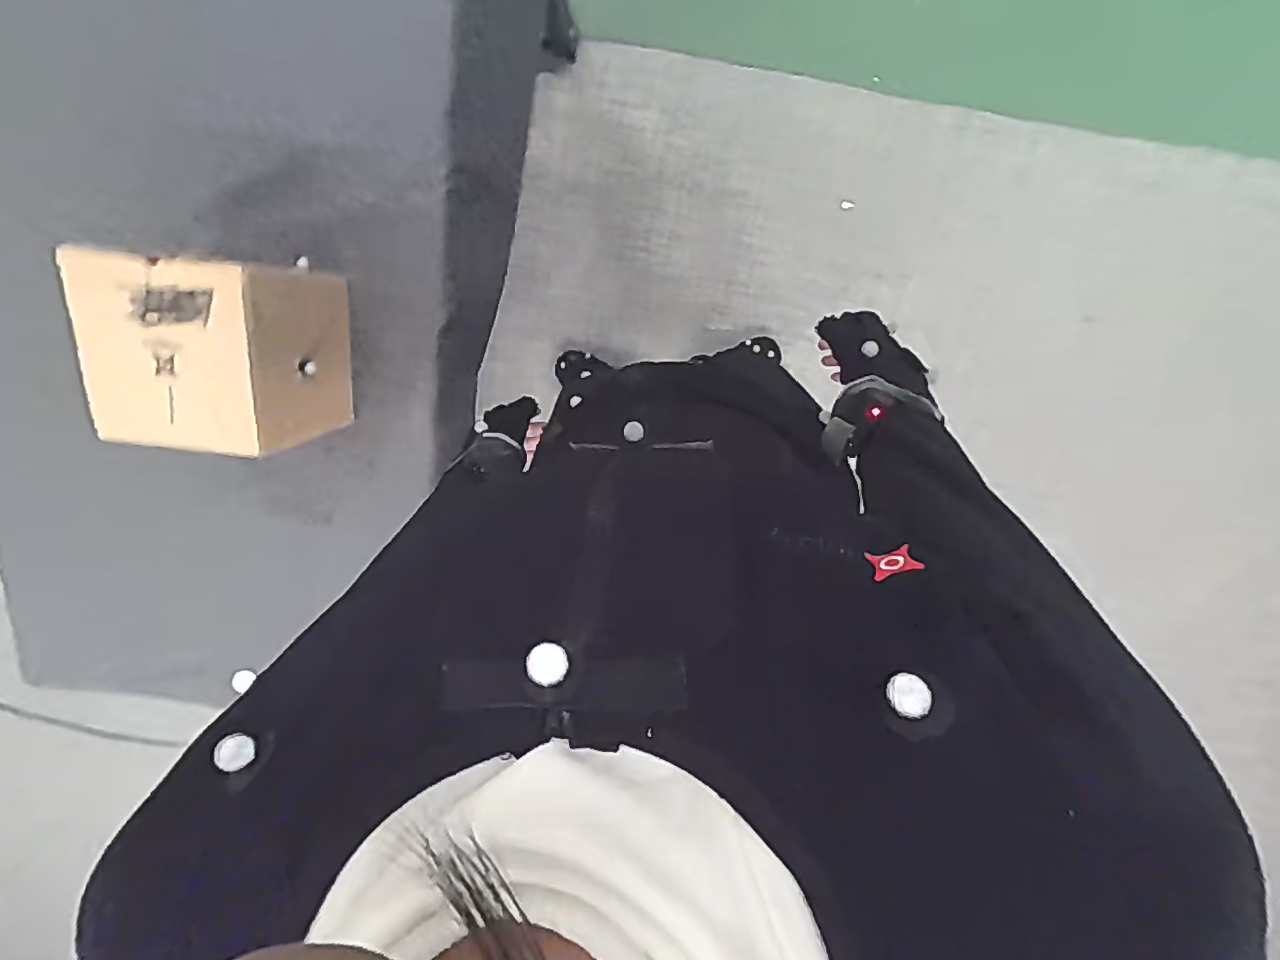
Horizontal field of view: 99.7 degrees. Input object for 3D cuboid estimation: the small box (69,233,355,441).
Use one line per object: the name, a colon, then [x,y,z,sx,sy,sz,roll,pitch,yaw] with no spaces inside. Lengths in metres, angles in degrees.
small box: [-0.433,-0.154,0.583,0.168,0.176,0.179,7,109,1]
